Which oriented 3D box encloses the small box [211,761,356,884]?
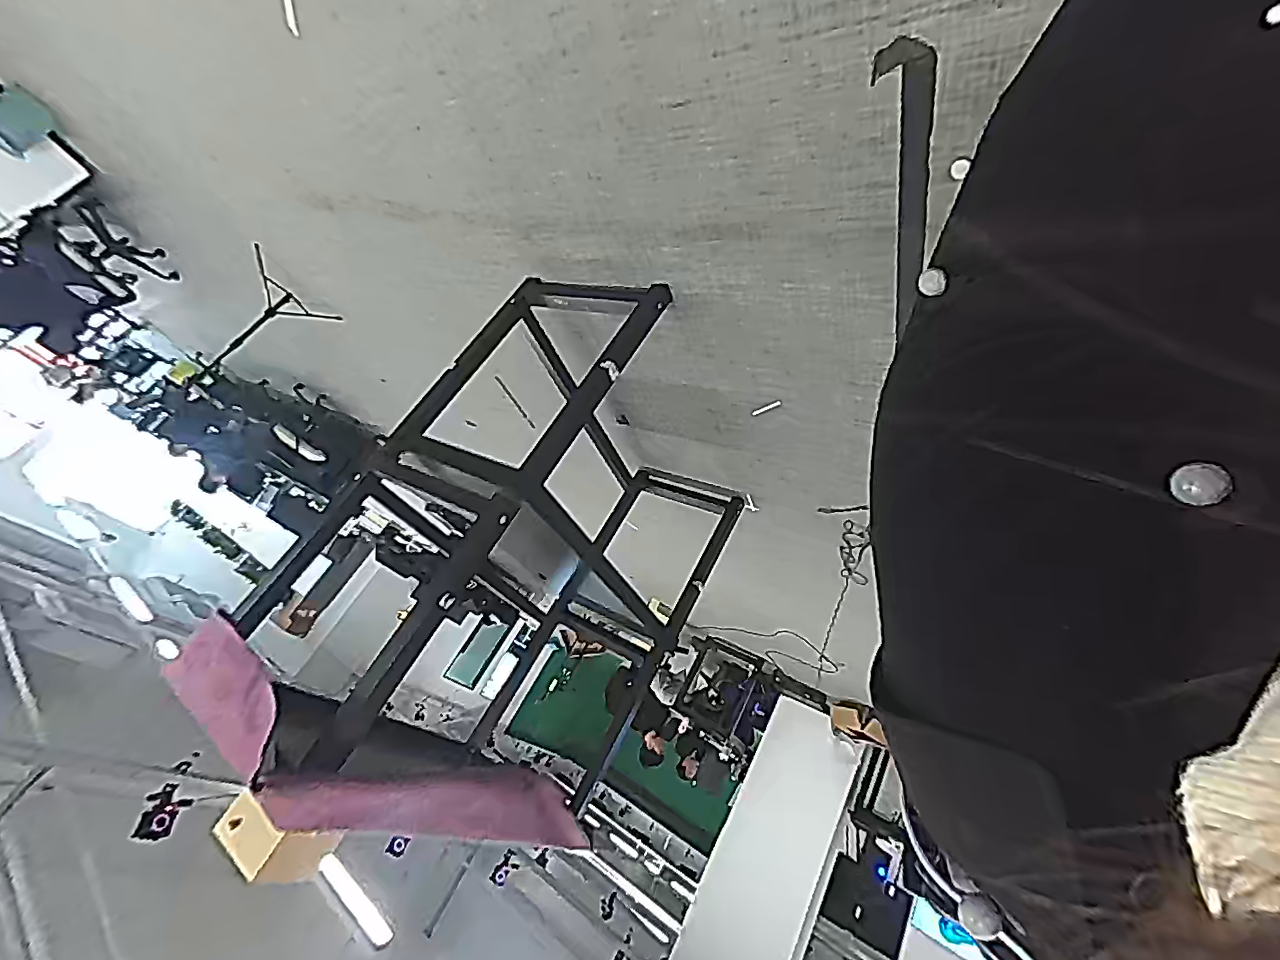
[{"bbox_3d":[-0.770,0.738,1.183,0.179,0.176,0.168,19,157,30],"label":"small box"}]
